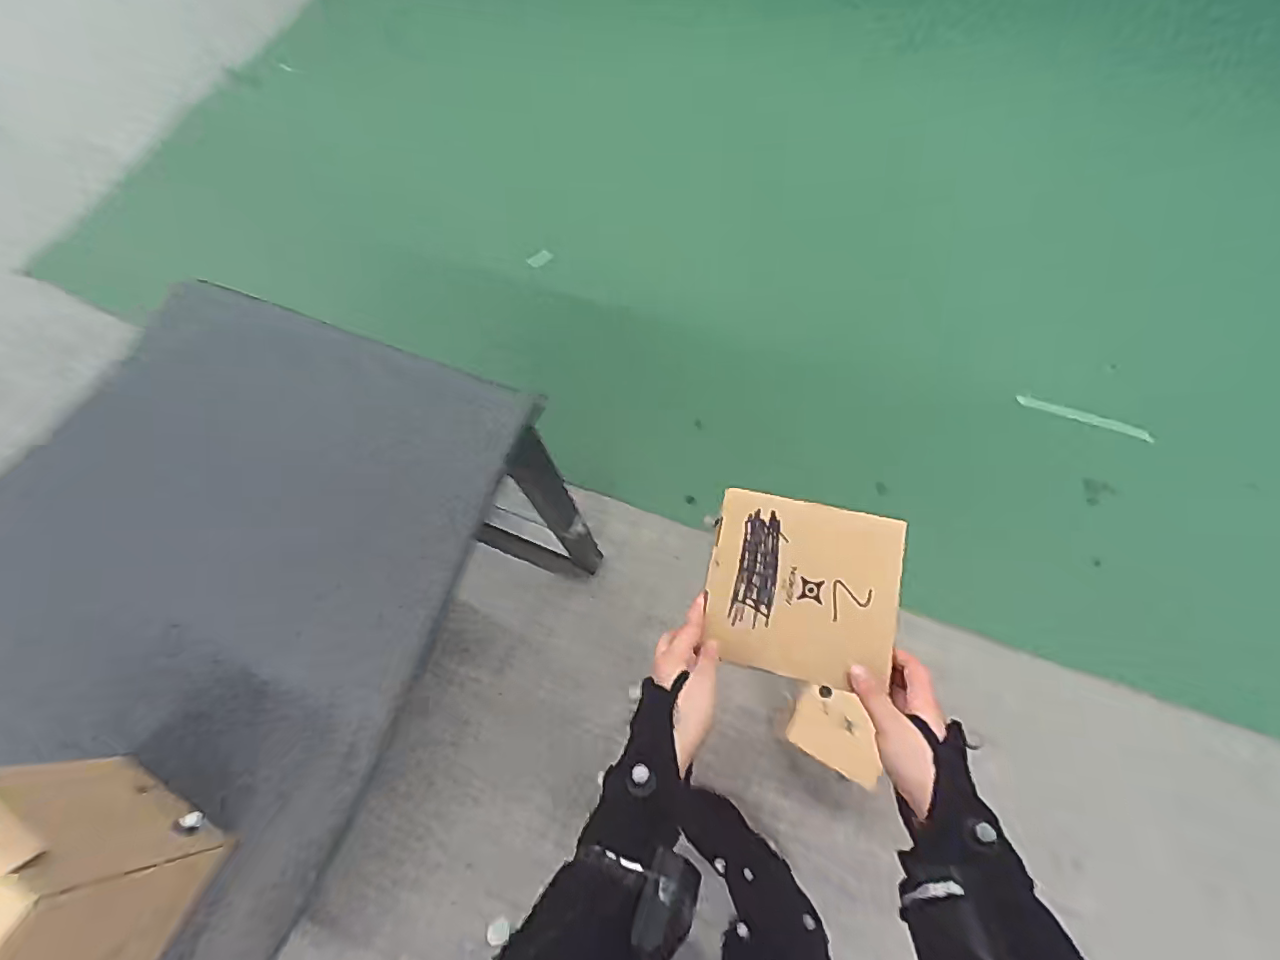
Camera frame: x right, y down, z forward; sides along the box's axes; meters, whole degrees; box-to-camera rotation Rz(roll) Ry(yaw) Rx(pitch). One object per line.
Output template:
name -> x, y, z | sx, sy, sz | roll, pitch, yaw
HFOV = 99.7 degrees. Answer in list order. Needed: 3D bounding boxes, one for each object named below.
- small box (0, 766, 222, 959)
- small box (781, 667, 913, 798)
small box -> -0.495, 0.359, 0.437 | 0.168, 0.176, 0.179 | 22, 72, 16
small box -> 0.407, 0.500, 1.091 | 0.179, 0.176, 0.168 | 28, 72, 16
